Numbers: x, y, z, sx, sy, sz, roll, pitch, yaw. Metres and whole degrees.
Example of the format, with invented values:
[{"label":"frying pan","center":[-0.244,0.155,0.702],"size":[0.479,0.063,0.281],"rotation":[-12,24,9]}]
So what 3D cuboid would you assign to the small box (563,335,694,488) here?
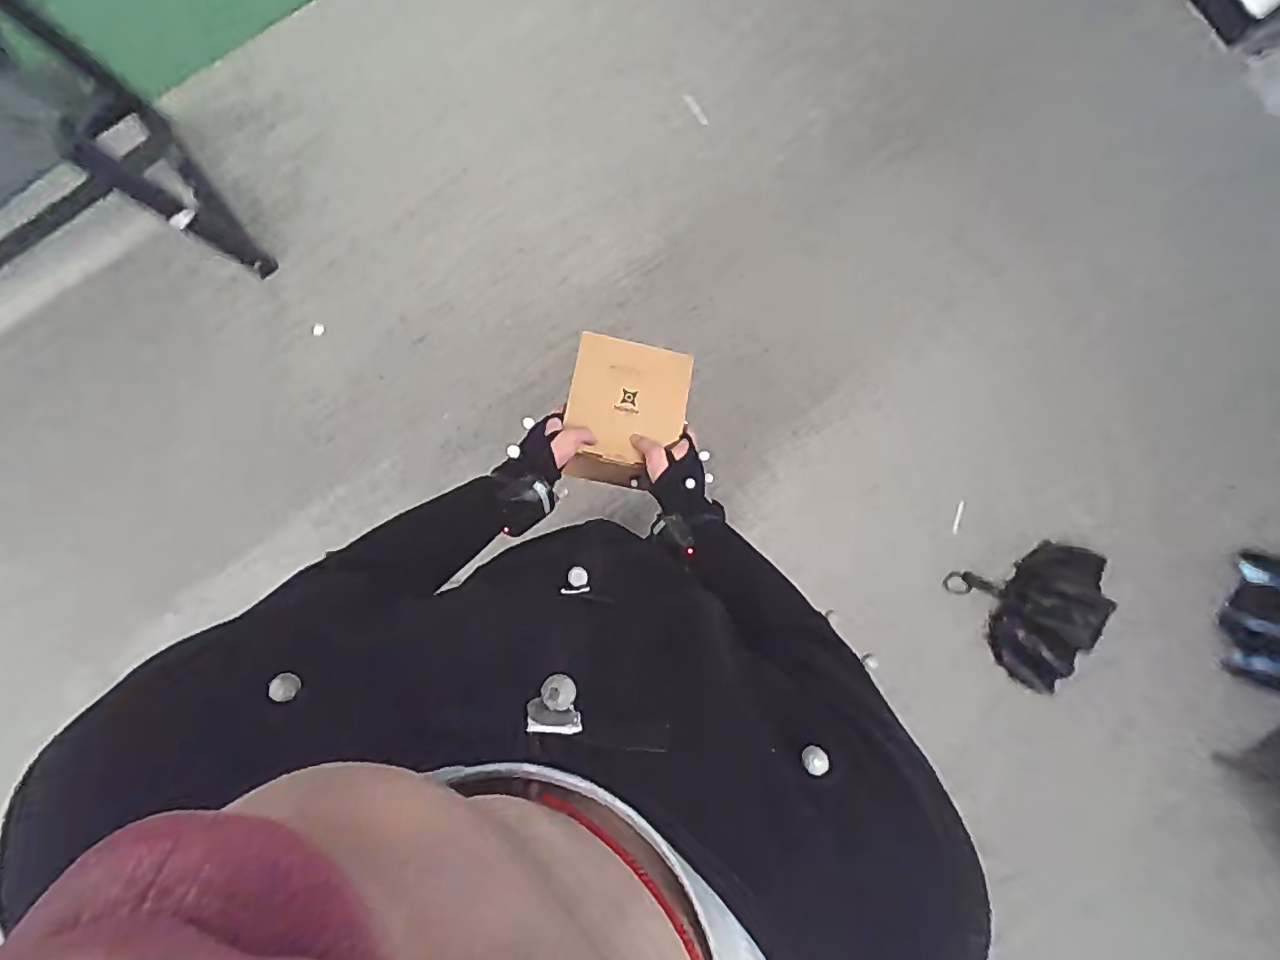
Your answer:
[{"label":"small box","center":[-0.024,-0.093,0.836],"size":[0.168,0.176,0.179],"rotation":[10,76,-8]}]
